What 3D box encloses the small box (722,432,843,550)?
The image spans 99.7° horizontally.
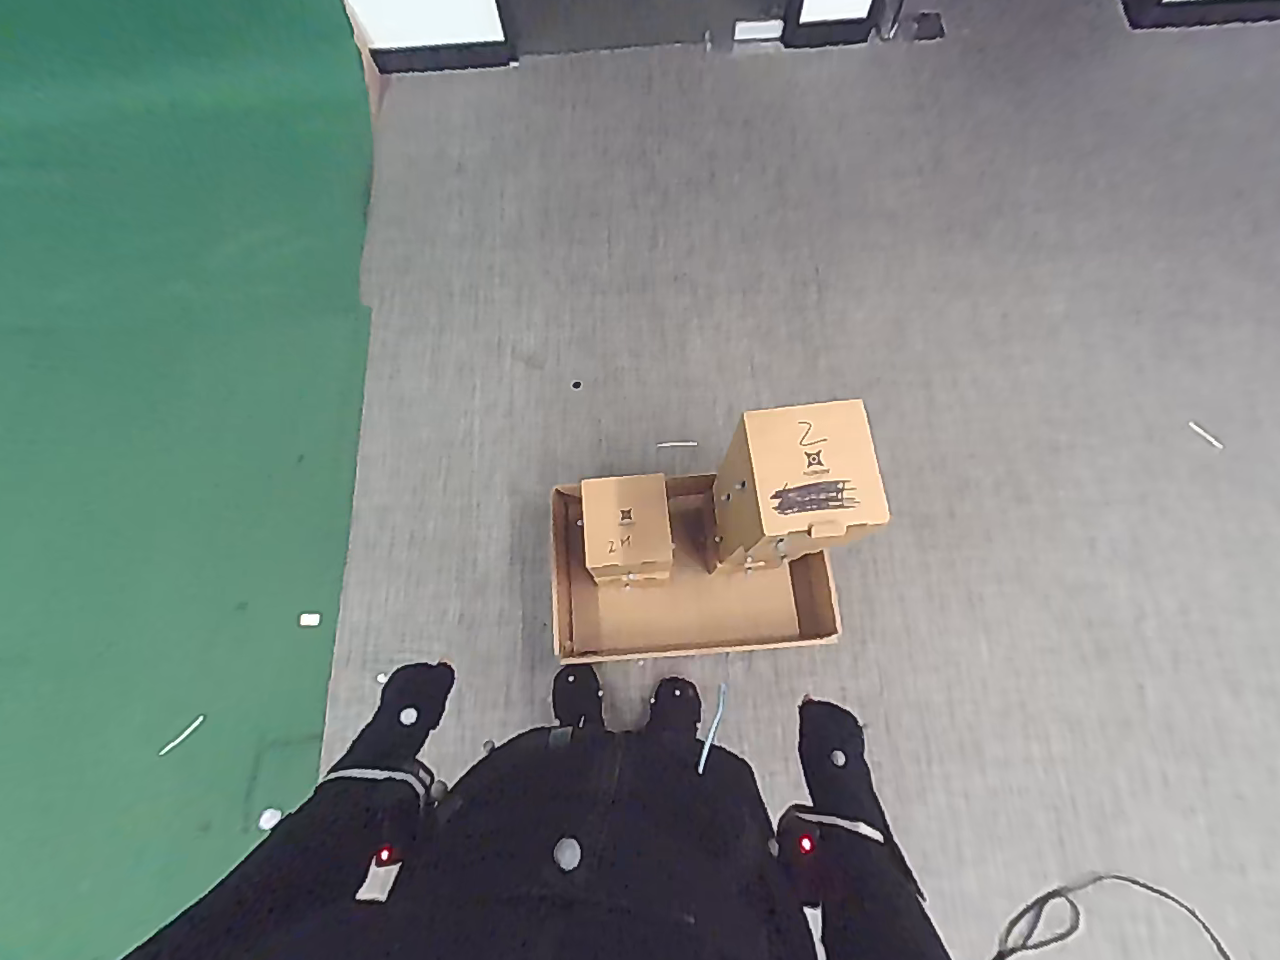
[{"bbox_3d":[0.240,0.028,0.950,0.168,0.176,0.179,-3,75,0],"label":"small box"}]

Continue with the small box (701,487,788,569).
[{"bbox_3d":[0.239,0.110,1.268,0.168,0.176,0.179,-9,74,1],"label":"small box"}]

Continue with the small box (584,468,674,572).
[{"bbox_3d":[-0.024,0.088,1.108,0.168,0.176,0.179,-5,74,-1],"label":"small box"}]

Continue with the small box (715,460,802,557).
[{"bbox_3d":[0.246,0.060,1.094,0.168,0.176,0.179,-4,75,1],"label":"small box"}]
